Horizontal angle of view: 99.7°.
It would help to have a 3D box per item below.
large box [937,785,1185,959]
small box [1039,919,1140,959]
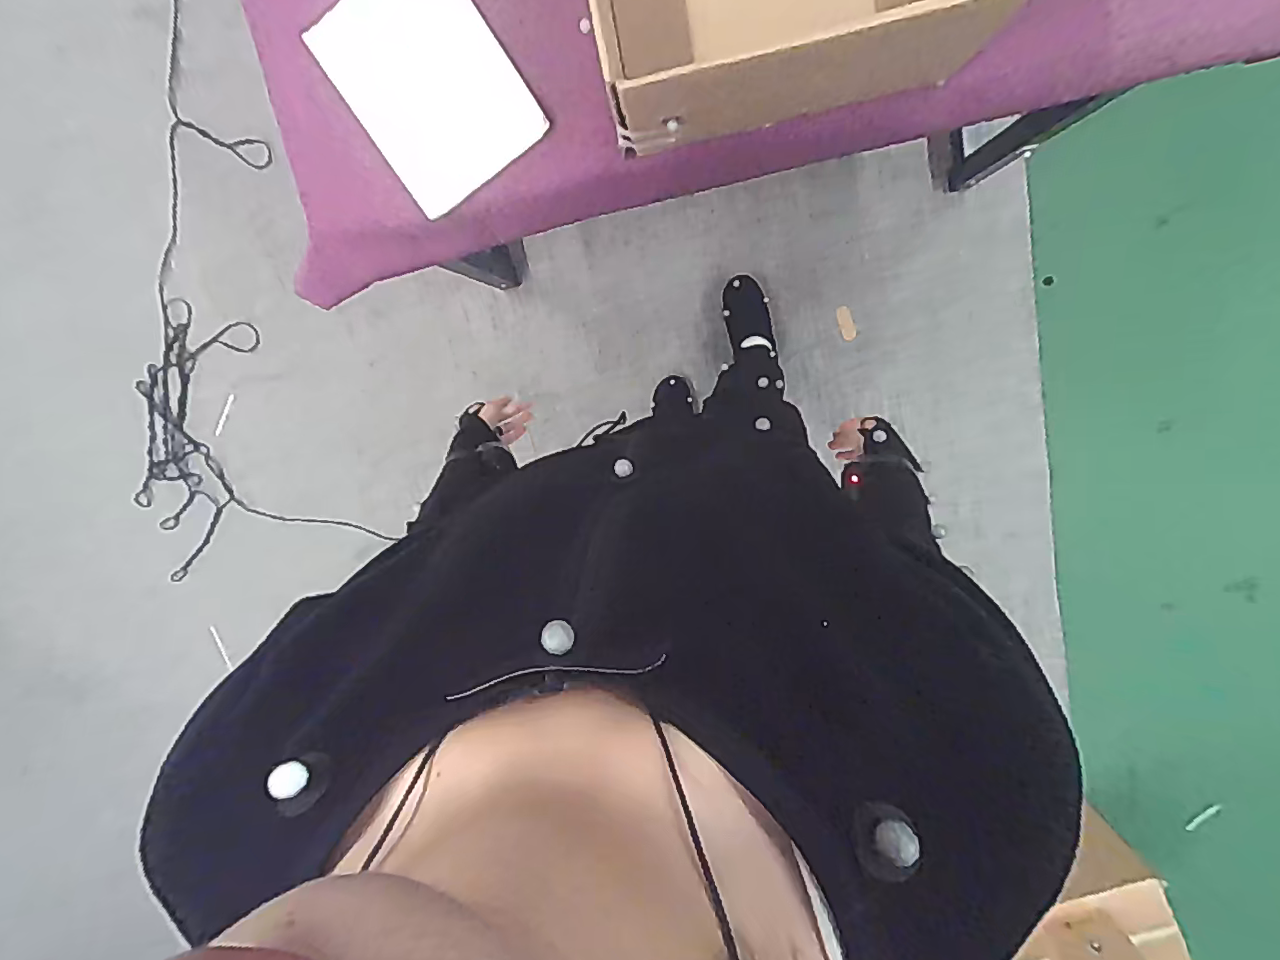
[{"bbox_3d":[1.143,1.149,1.514,0.408,0.320,0.320,-26,100,8],"label":"large box"},{"bbox_3d":[1.088,1.182,1.273,0.168,0.176,0.179,-20,99,9],"label":"small box"}]
